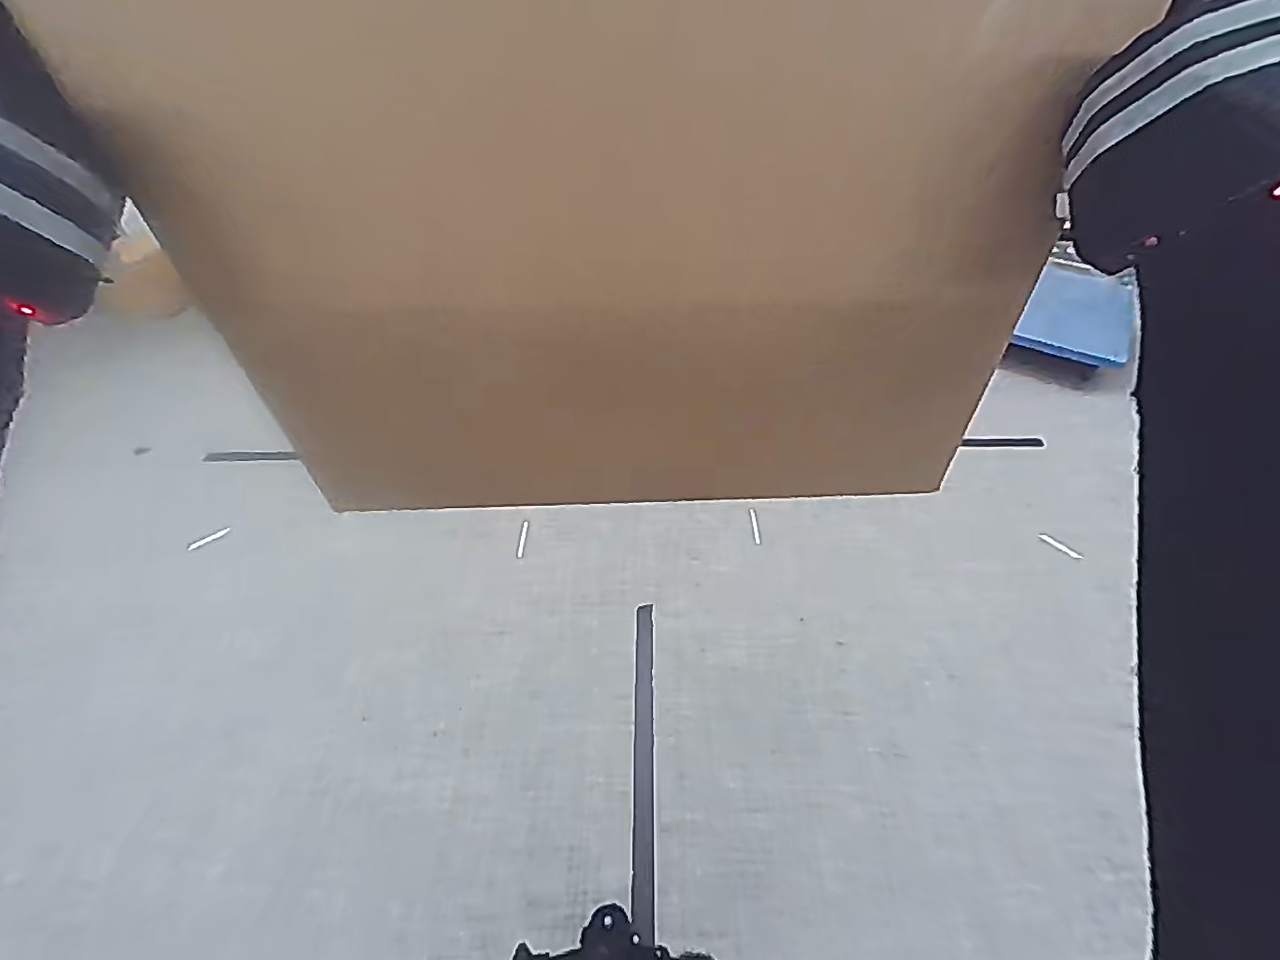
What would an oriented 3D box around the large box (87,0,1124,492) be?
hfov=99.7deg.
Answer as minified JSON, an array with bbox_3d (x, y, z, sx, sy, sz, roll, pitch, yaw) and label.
[{"bbox_3d":[-0.011,-0.207,0.380,0.408,0.320,0.320,-1,44,1],"label":"large box"}]
